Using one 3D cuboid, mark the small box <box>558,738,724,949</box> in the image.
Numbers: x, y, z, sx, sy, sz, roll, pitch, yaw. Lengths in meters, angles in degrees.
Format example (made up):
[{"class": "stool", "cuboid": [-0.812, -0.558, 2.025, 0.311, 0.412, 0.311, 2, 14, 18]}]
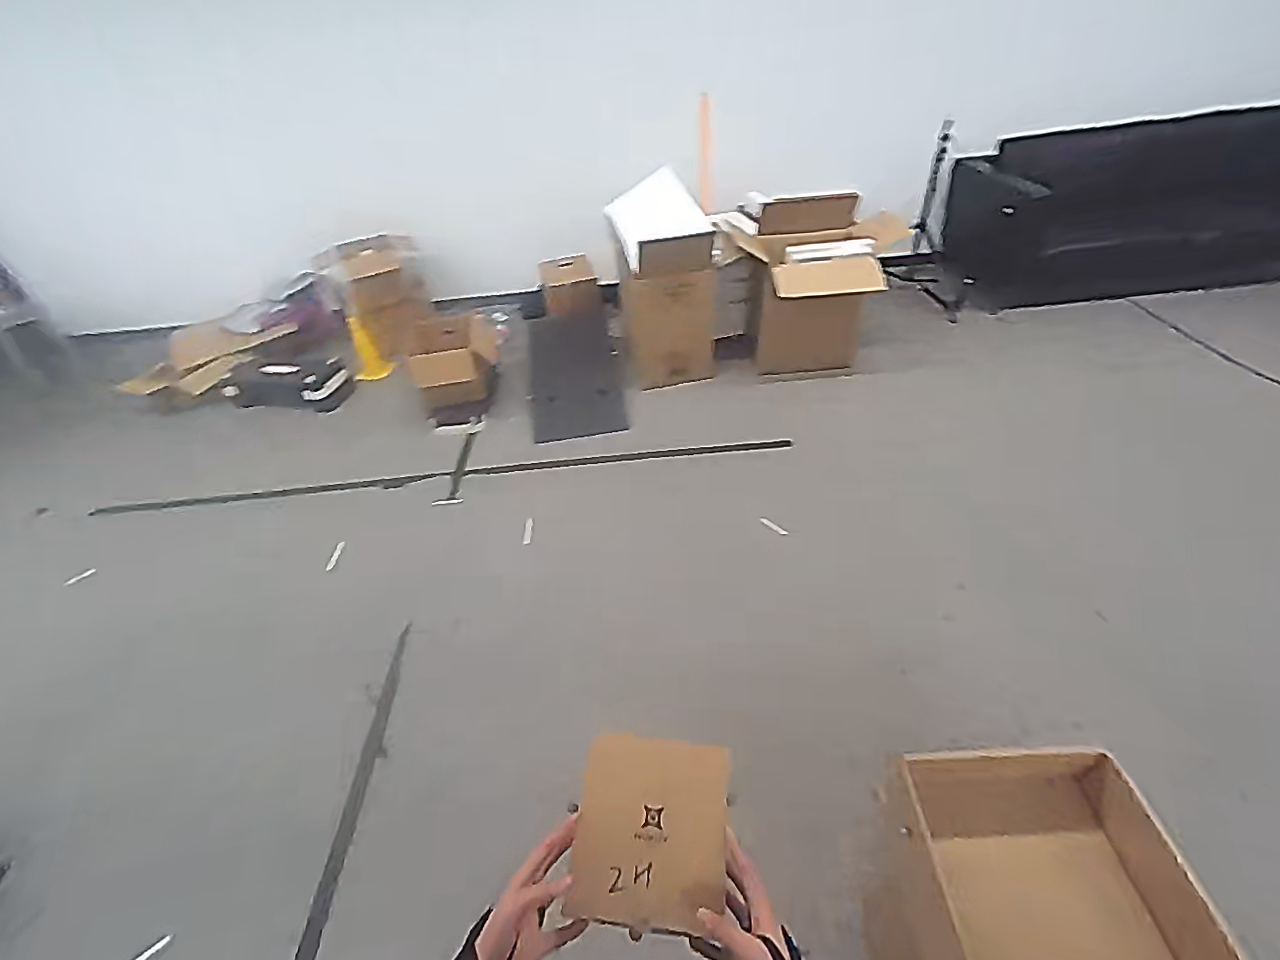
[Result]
[{"class": "small box", "cuboid": [0.003, 0.430, 0.649, 0.168, 0.176, 0.179, 6, 54, 2]}]
